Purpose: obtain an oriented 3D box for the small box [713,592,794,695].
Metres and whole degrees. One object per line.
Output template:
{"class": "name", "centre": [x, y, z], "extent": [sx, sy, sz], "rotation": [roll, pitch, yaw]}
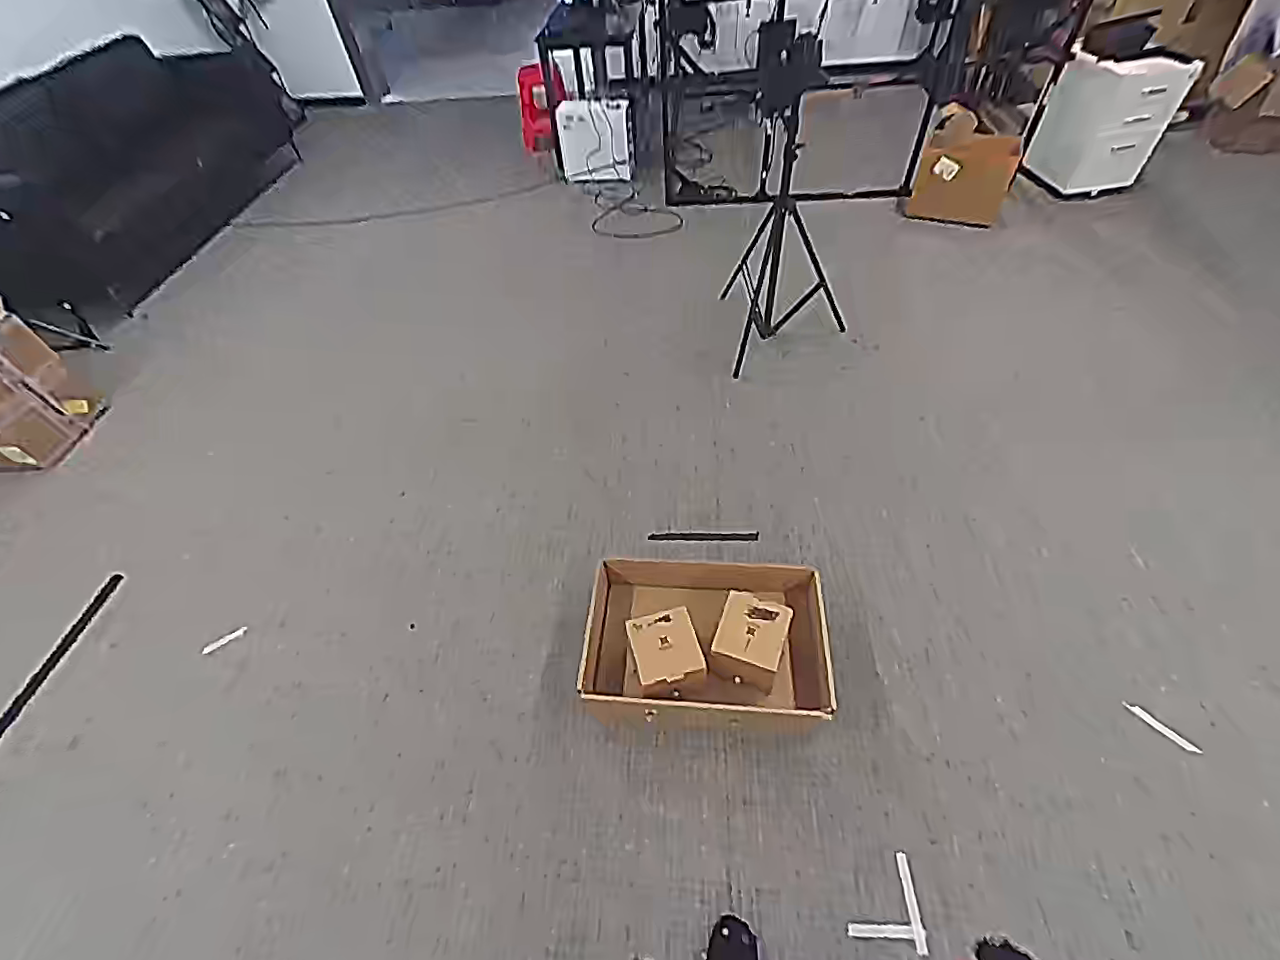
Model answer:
{"class": "small box", "centre": [0.292, 0.428, 1.411], "extent": [0.168, 0.176, 0.179], "rotation": [15, 54, 19]}
